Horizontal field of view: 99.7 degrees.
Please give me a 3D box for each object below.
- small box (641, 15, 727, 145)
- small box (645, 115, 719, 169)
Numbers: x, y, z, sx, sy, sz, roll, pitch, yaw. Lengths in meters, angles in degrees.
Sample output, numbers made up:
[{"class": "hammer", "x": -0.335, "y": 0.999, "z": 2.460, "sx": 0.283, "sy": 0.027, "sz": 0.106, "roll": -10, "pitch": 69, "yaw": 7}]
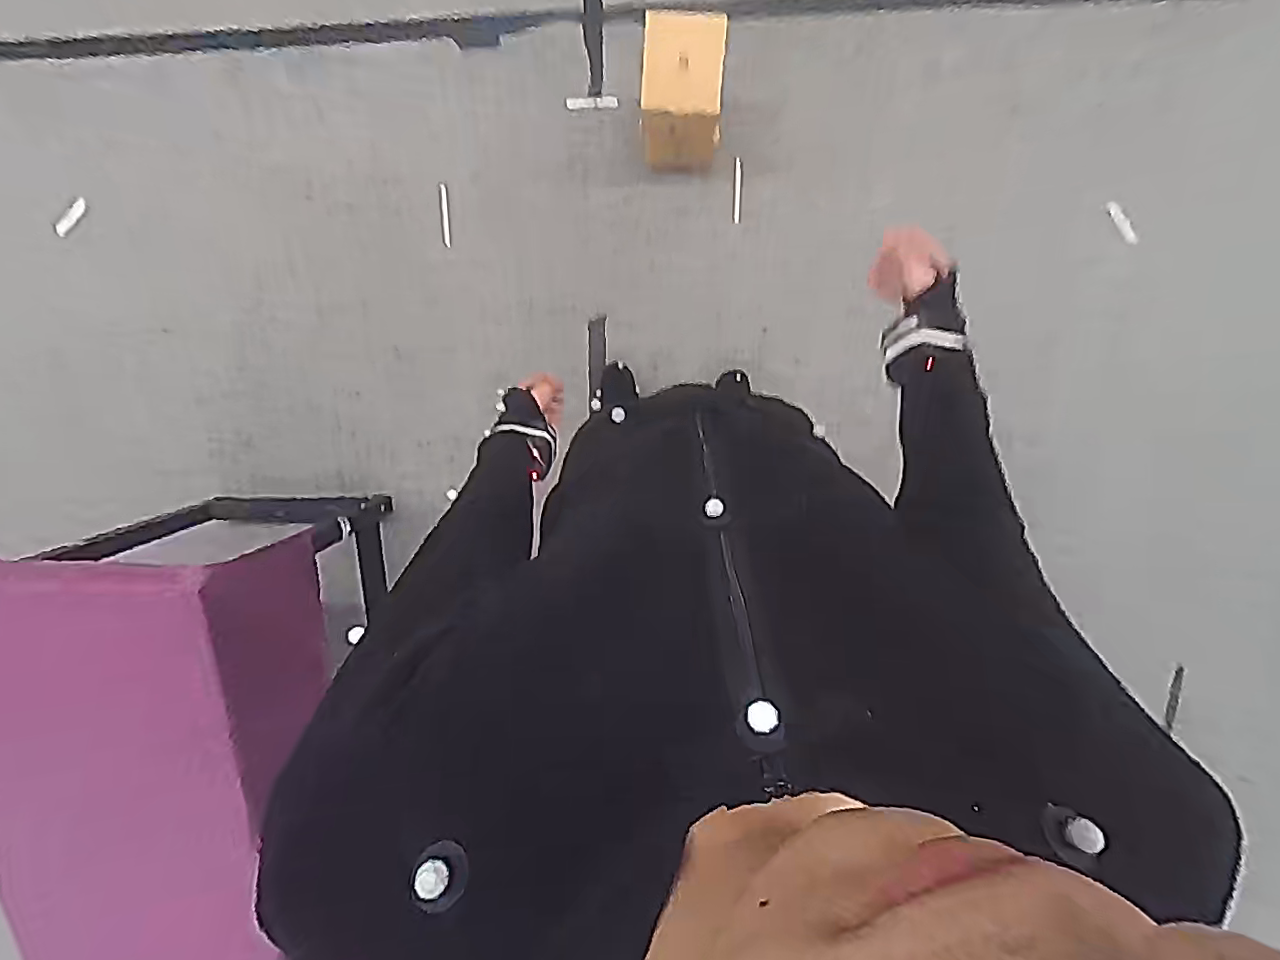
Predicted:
[{"class": "small box", "x": 0.090, "y": -0.865, "z": 1.184, "sx": 0.168, "sy": 0.176, "sz": 0.179, "roll": 4, "pitch": 104, "yaw": 1}, {"class": "small box", "x": 0.101, "y": -0.892, "z": 1.345, "sx": 0.179, "sy": 0.176, "sz": 0.168, "roll": -1, "pitch": 103, "yaw": 3}]
